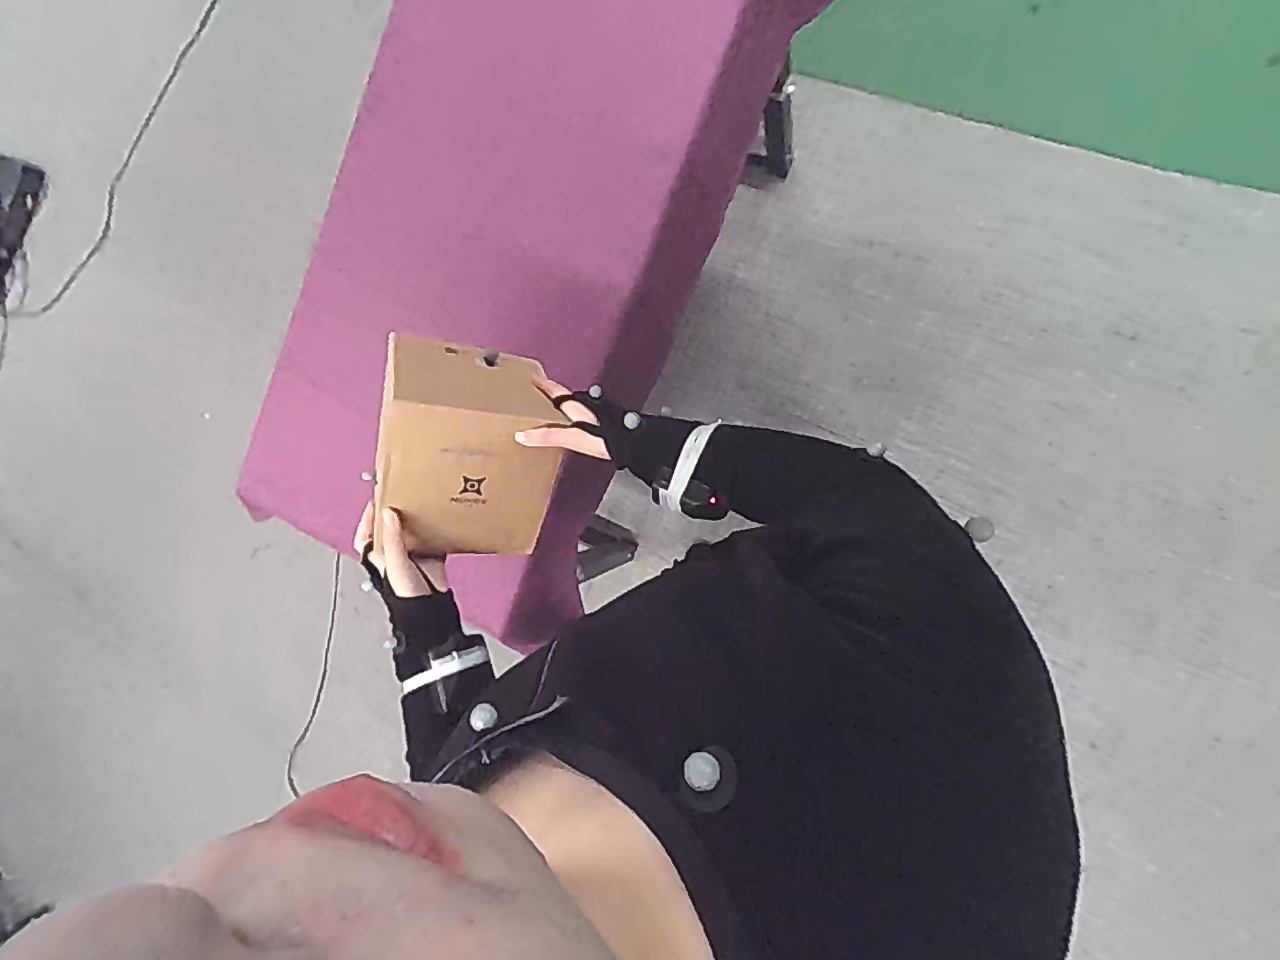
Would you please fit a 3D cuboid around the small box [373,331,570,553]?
[{"bbox_3d":[-0.194,-0.039,0.595,0.176,0.168,0.179,58,135,47],"label":"small box"}]
